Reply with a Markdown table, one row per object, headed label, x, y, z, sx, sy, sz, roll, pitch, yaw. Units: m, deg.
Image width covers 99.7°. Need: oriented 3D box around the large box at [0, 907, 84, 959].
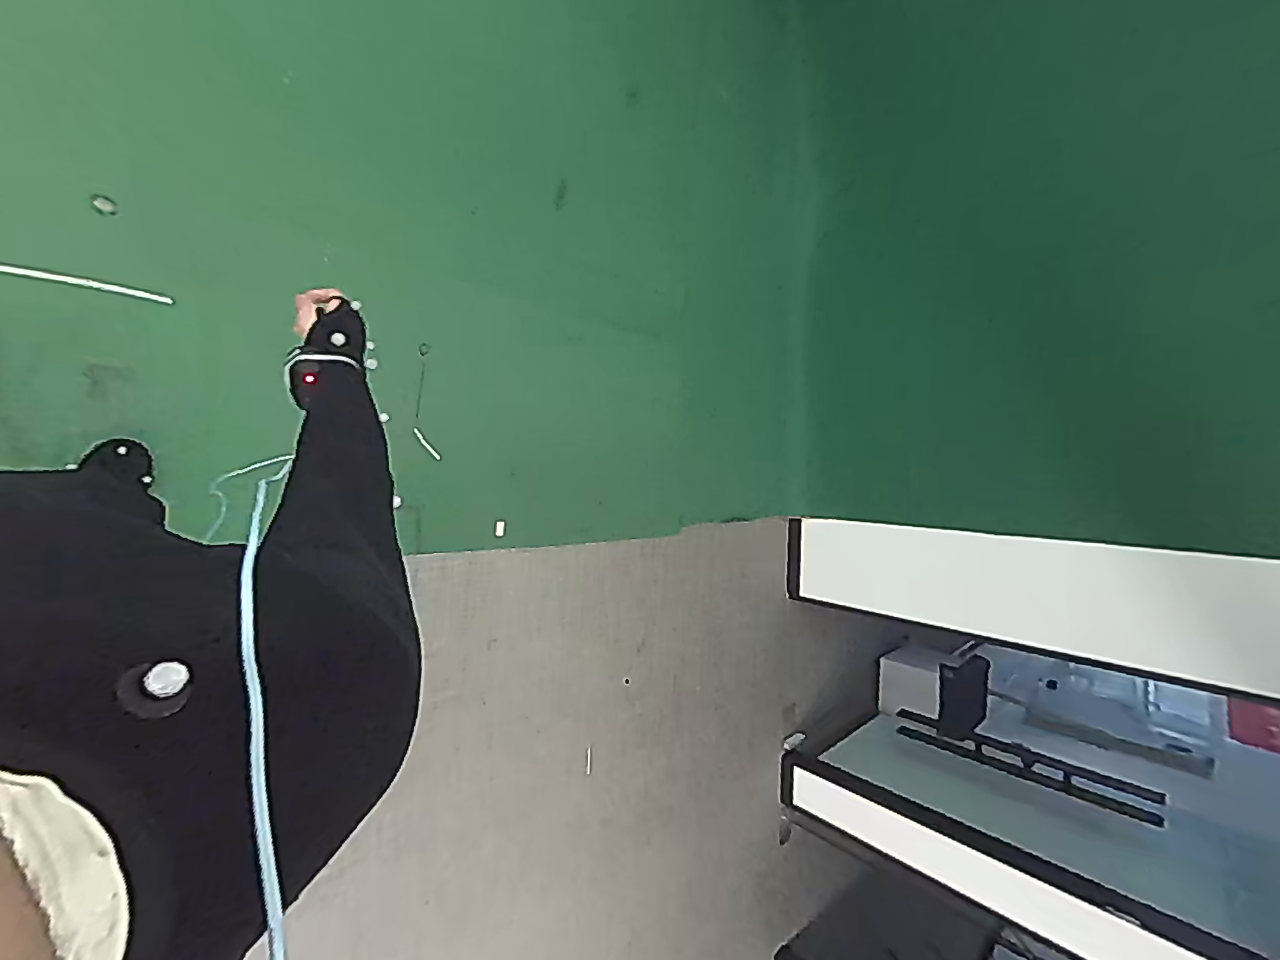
| label | x | y | z | sx | sy | sz | roll | pitch | yaw |
| --- | --- | --- | --- | --- | --- | --- | --- | --- | --- |
| large box | -1.296 | 1.020 | 0.927 | 0.408 | 0.320 | 0.320 | 26 | 75 | -41 |
